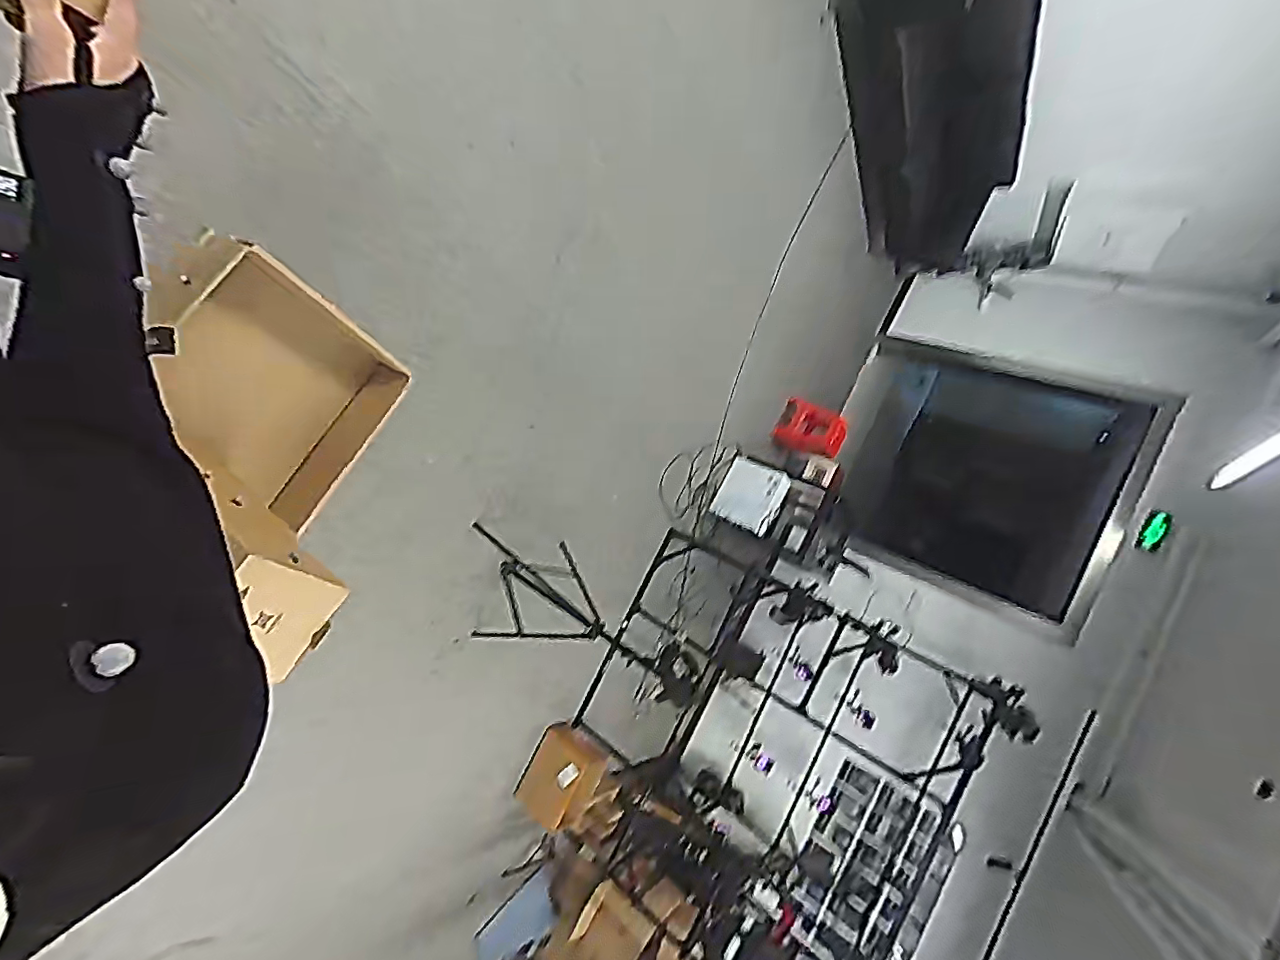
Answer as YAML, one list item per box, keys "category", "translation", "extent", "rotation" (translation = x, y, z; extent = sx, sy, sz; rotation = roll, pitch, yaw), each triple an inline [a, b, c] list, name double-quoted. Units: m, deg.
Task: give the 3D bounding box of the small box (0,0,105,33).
- category: "small box"
  translation: [-0.503, -0.463, 0.383]
  extent: [0.179, 0.176, 0.168]
  rotation: [11, 102, -56]

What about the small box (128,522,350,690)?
- category: "small box"
  translation: [-0.588, 0.185, 0.802]
  extent: [0.168, 0.176, 0.179]
  rotation: [-58, 149, -14]
